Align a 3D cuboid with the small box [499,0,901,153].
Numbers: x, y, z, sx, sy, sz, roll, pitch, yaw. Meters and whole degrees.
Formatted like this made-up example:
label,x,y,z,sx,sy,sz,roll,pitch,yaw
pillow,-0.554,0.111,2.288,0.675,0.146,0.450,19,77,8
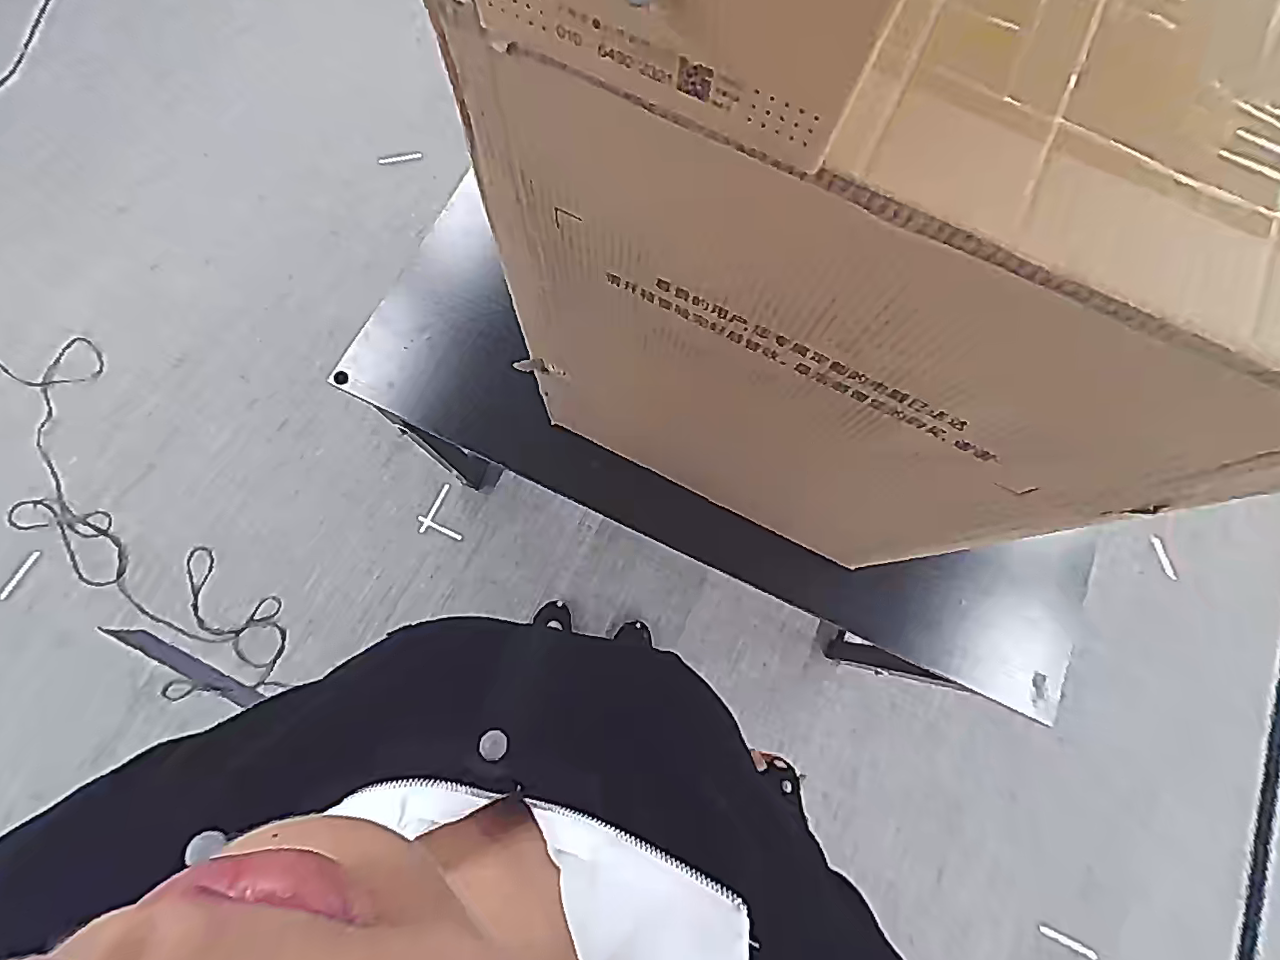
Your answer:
label,x,y,z,sx,sy,sz,roll,pitch,yaw
small box,0.043,-0.260,0.172,0.168,0.176,0.179,26,79,3
